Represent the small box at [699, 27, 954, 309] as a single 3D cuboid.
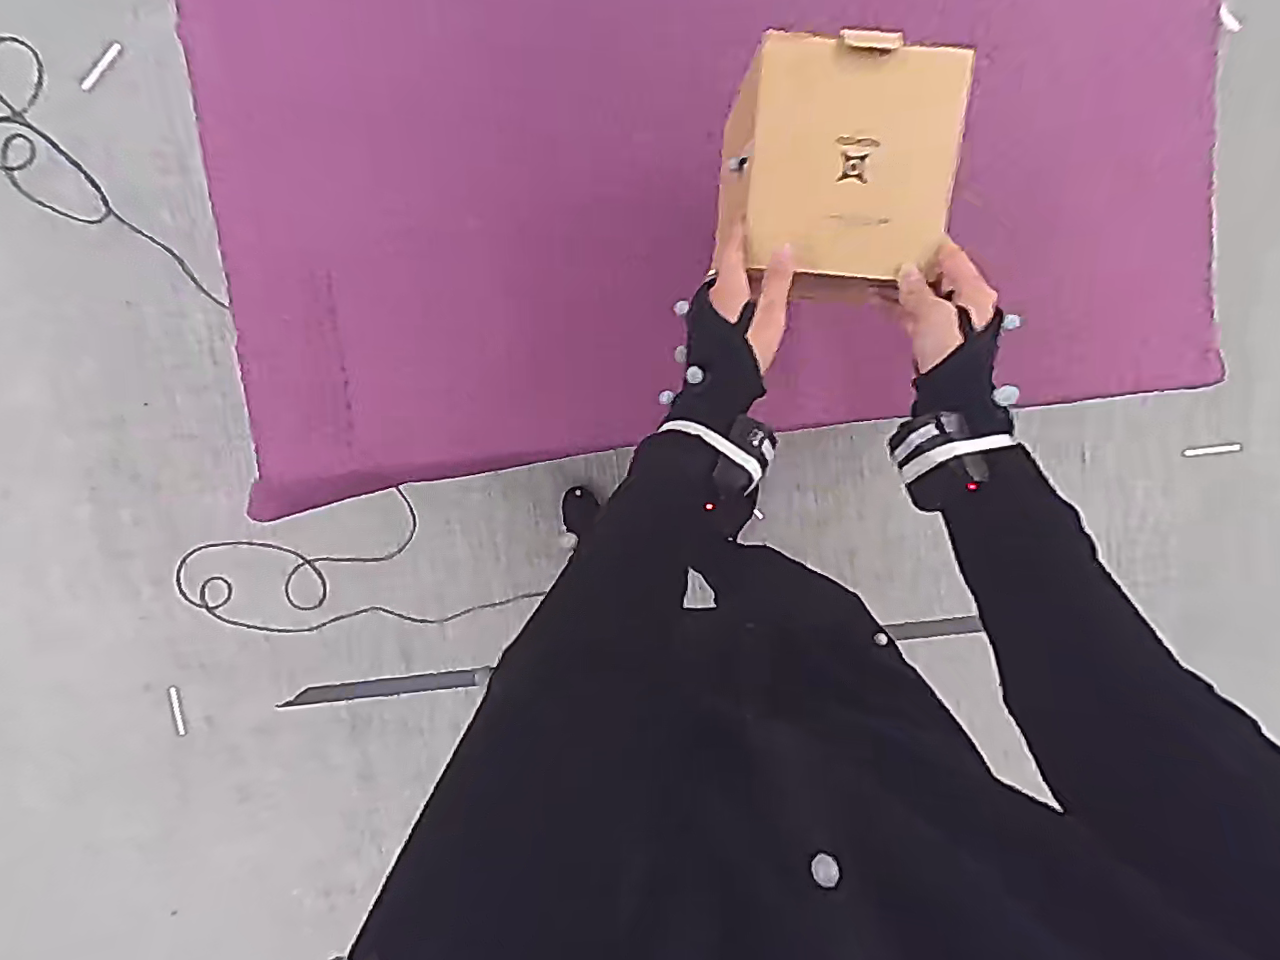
[{"bbox_3d":[0.152,-0.267,0.505,0.168,0.176,0.179,4,101,-2],"label":"small box"}]
